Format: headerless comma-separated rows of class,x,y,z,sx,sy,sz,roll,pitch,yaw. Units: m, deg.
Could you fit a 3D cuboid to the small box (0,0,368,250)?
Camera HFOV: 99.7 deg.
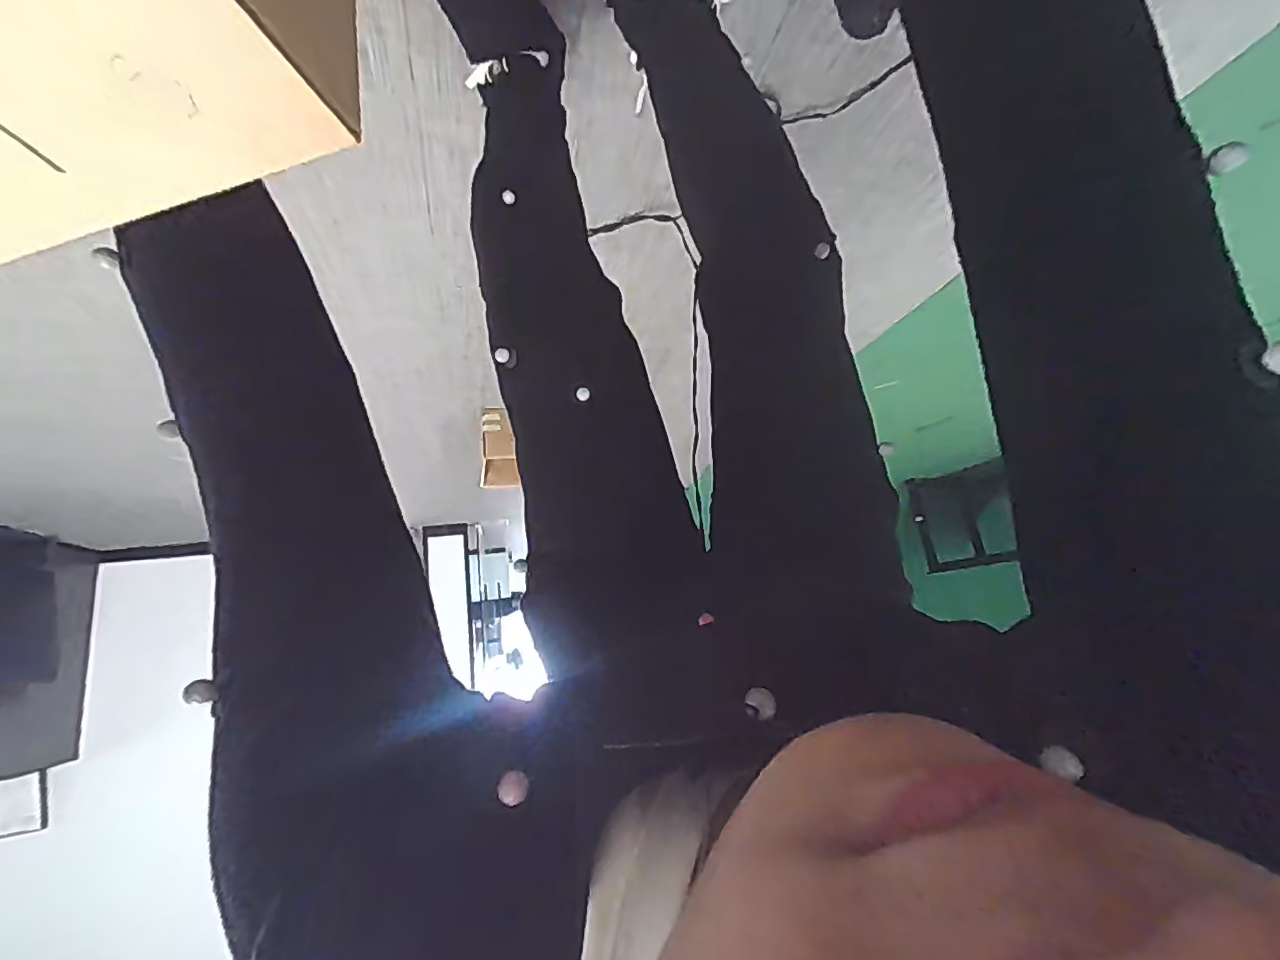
small box,-0.191,-0.191,0.118,0.168,0.176,0.179,-12,166,9
